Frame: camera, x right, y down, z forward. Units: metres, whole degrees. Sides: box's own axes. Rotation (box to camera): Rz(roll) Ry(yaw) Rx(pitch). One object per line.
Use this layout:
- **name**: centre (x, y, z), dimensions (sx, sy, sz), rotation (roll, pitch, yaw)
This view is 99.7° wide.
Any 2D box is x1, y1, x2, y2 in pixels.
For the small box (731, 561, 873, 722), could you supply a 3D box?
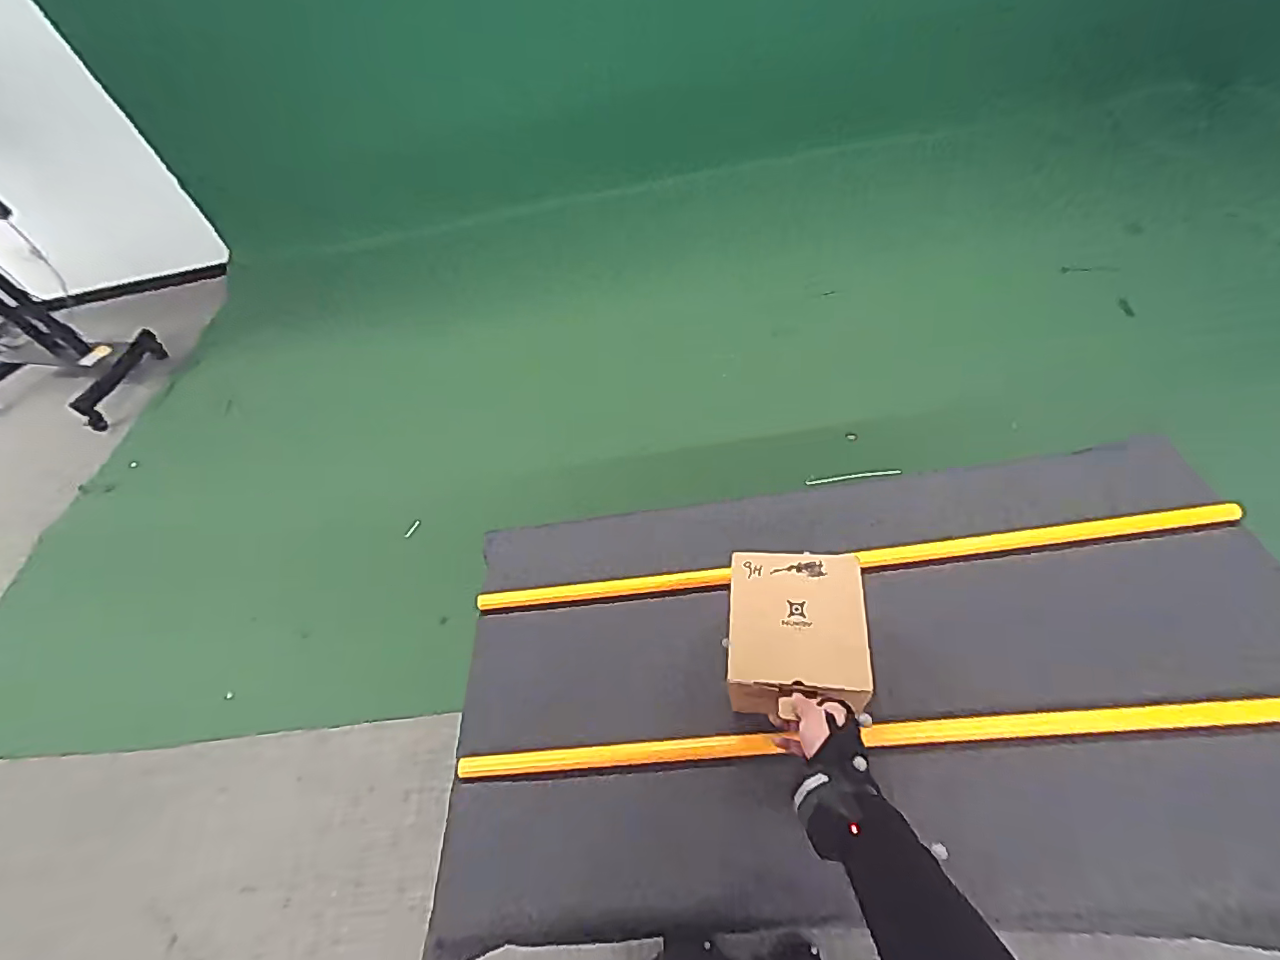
- **small box**: centre (0.216, 0.226, 0.746), dimensions (0.168, 0.176, 0.179), rotation (-3, 56, 13)
